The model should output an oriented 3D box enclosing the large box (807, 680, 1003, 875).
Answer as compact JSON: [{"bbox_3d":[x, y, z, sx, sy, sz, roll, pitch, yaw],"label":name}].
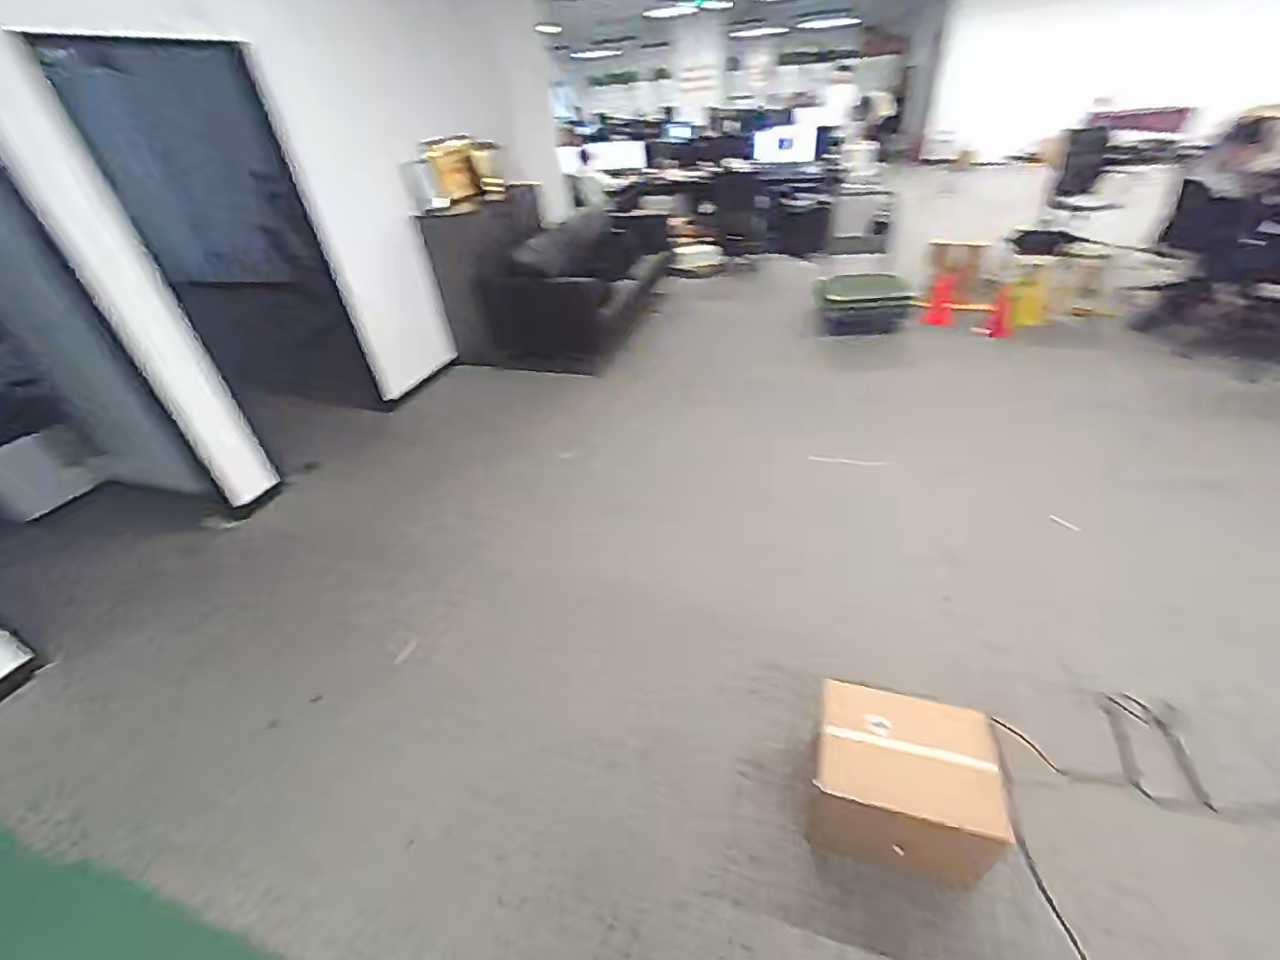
[{"bbox_3d":[0.671,0.785,1.446,0.408,0.320,0.320,4,36,17],"label":"large box"}]
